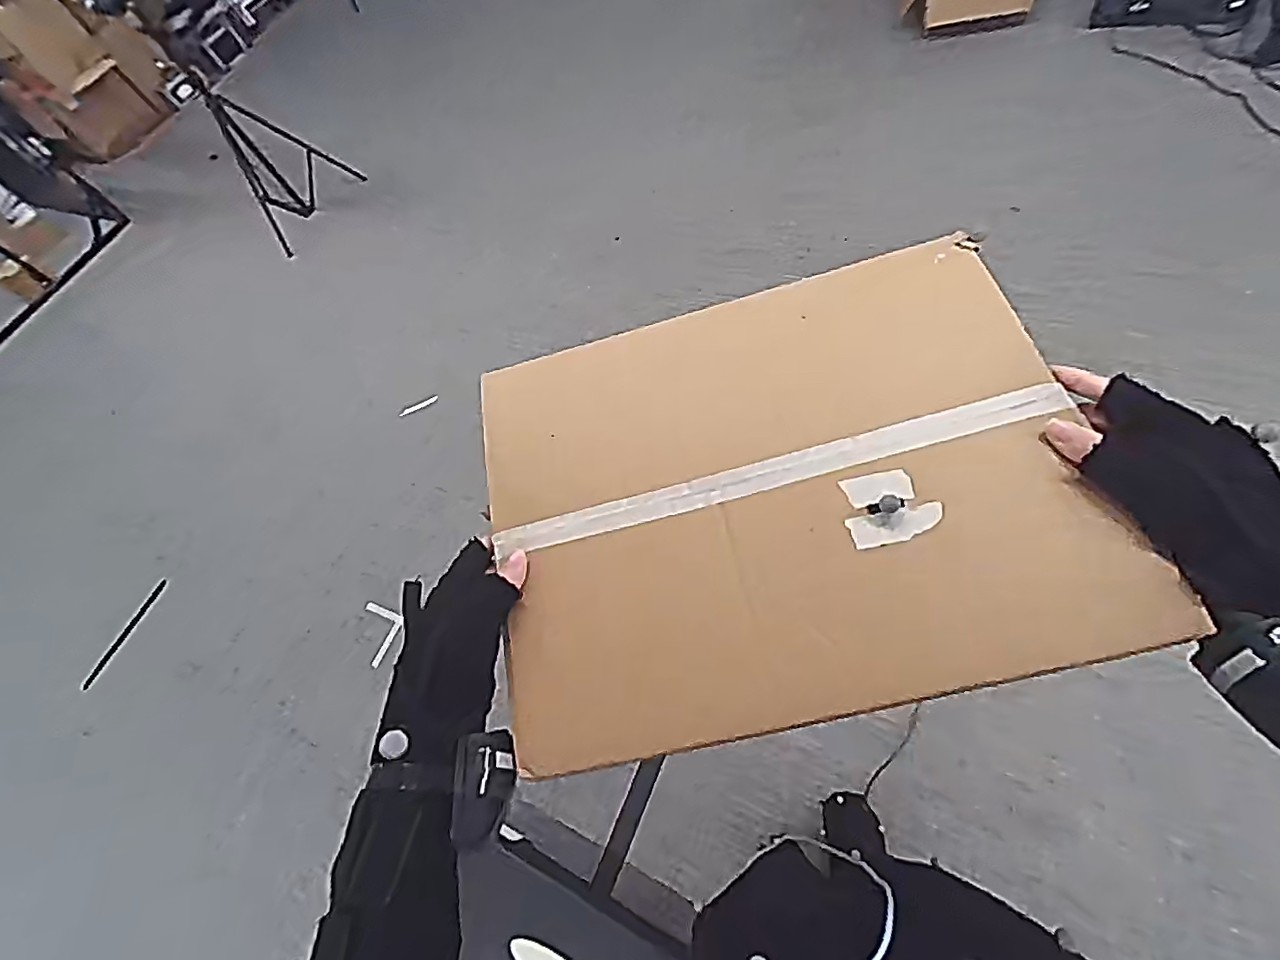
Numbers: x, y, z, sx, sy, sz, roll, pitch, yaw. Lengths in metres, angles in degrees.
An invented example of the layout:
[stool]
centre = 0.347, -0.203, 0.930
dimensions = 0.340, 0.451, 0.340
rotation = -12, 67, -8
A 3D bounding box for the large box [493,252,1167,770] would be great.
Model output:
[large box]
centre = 0.118, 0.057, 0.530
dimensions = 0.408, 0.320, 0.320
rotation = -15, 66, 5
